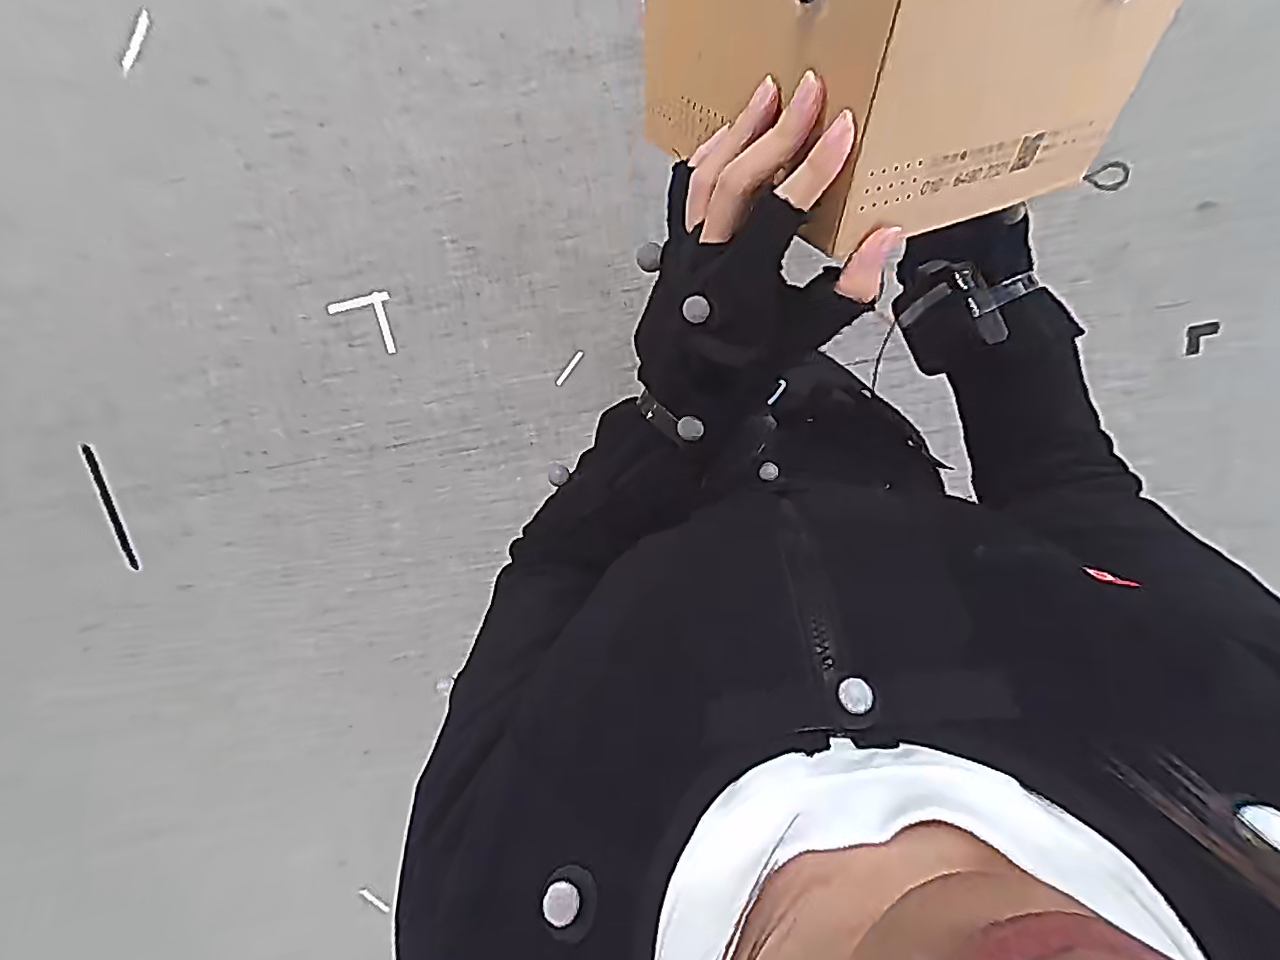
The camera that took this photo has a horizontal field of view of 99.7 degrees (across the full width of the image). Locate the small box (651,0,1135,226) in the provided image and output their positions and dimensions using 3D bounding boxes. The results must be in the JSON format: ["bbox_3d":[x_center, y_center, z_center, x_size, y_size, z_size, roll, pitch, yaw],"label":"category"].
[{"bbox_3d":[0.115,-0.243,0.264,0.168,0.179,0.176,-21,142,-17],"label":"small box"}]
